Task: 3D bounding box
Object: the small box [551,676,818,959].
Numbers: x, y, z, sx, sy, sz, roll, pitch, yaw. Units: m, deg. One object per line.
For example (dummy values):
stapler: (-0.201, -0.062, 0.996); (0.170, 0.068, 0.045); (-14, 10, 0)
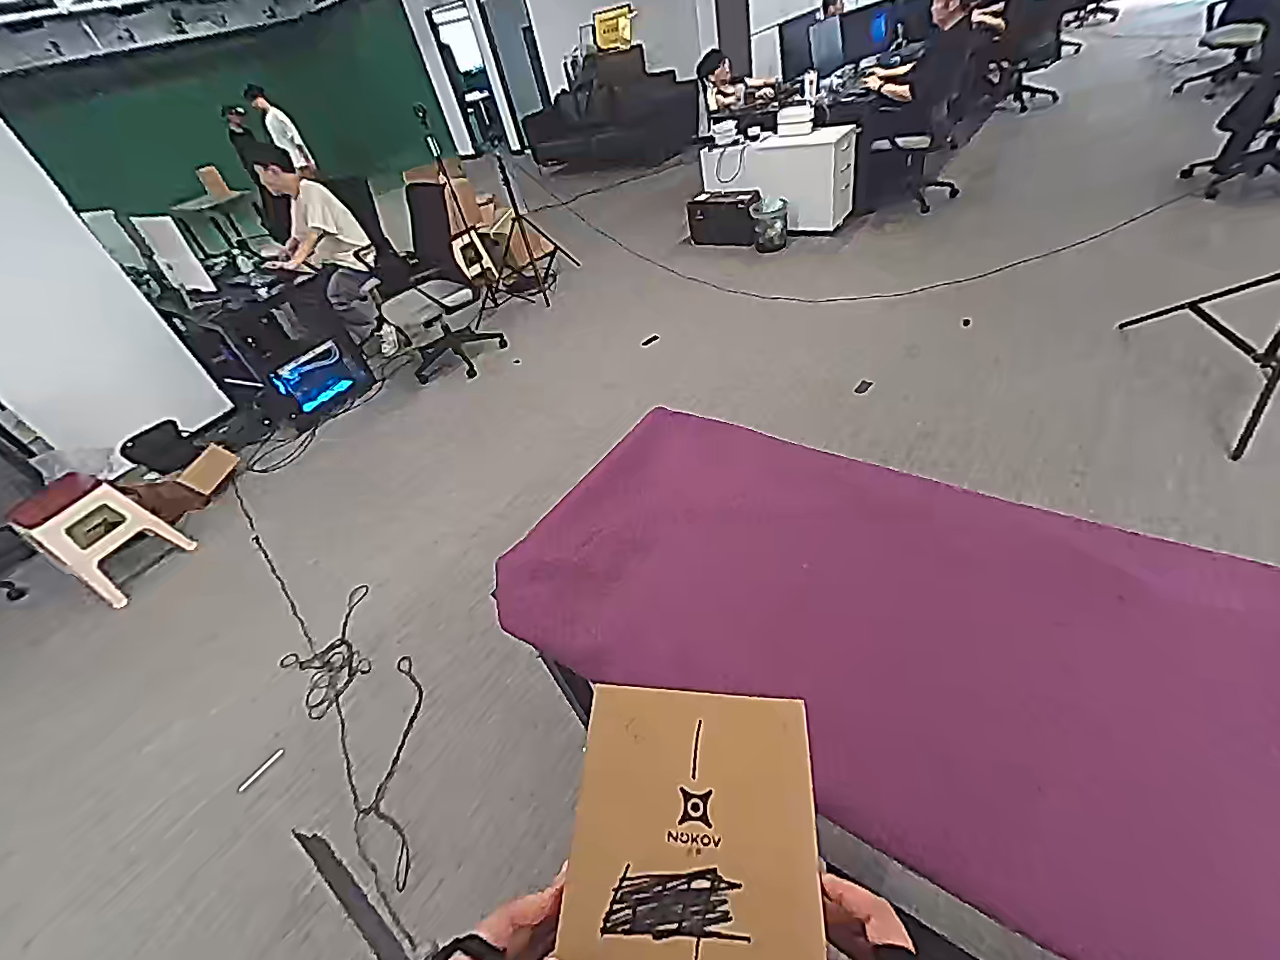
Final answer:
small box: (0.040, 0.280, 0.434); (0.168, 0.176, 0.179); (3, 50, 7)
